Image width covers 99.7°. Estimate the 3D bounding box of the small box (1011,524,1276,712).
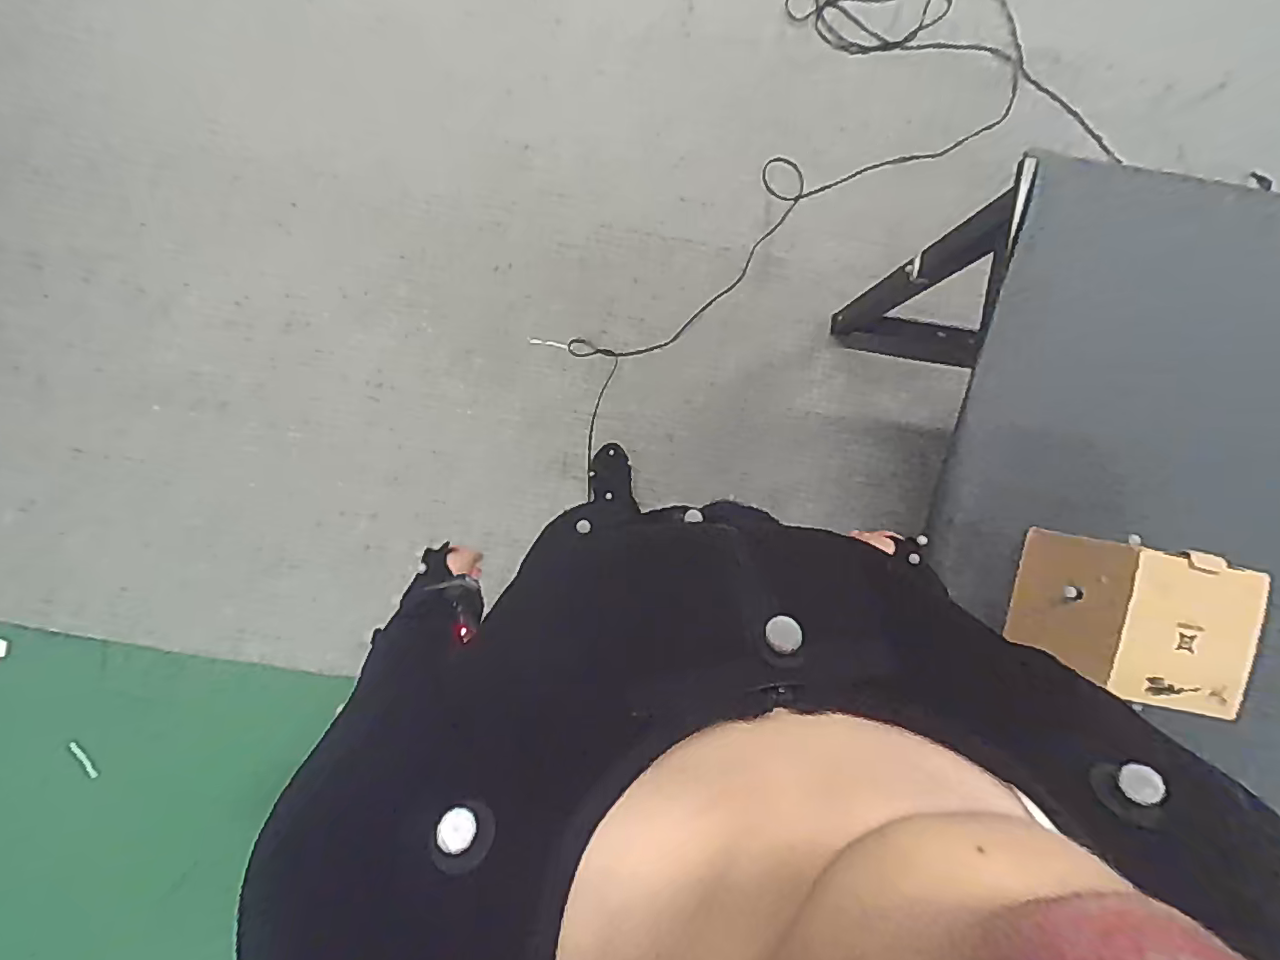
[{"bbox_3d":[0.613,0.159,0.682,0.168,0.176,0.179,12,91,-3],"label":"small box"}]
